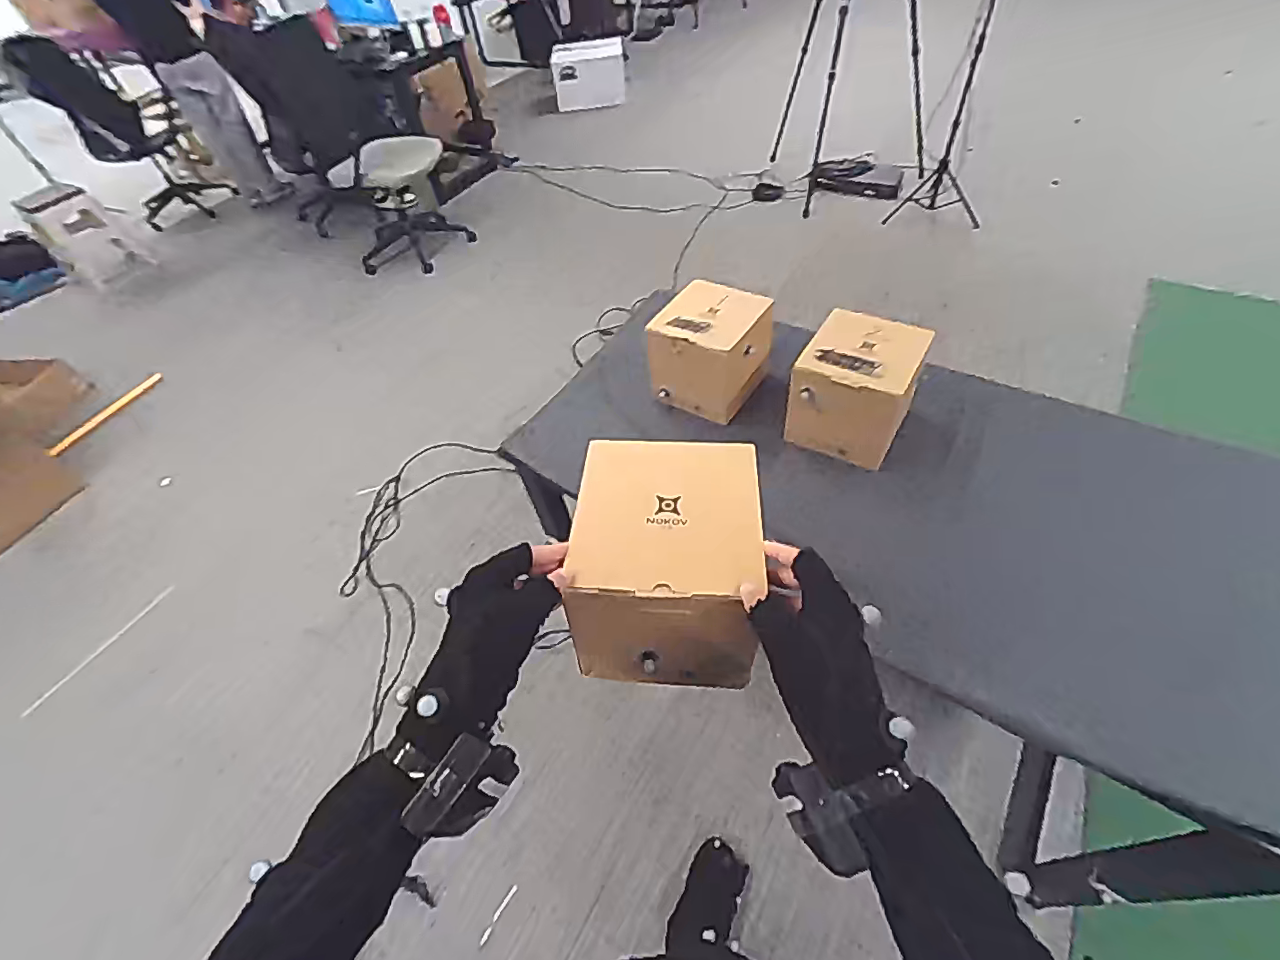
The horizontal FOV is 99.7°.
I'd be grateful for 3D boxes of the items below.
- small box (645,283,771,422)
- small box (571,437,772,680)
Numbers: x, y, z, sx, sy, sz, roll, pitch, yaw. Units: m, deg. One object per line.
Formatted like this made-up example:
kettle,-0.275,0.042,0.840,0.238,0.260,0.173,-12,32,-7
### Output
small box,0.132,-0.237,1.017,0.168,0.176,0.179,25,57,25
small box,0.034,0.078,0.547,0.168,0.176,0.179,2,47,5
